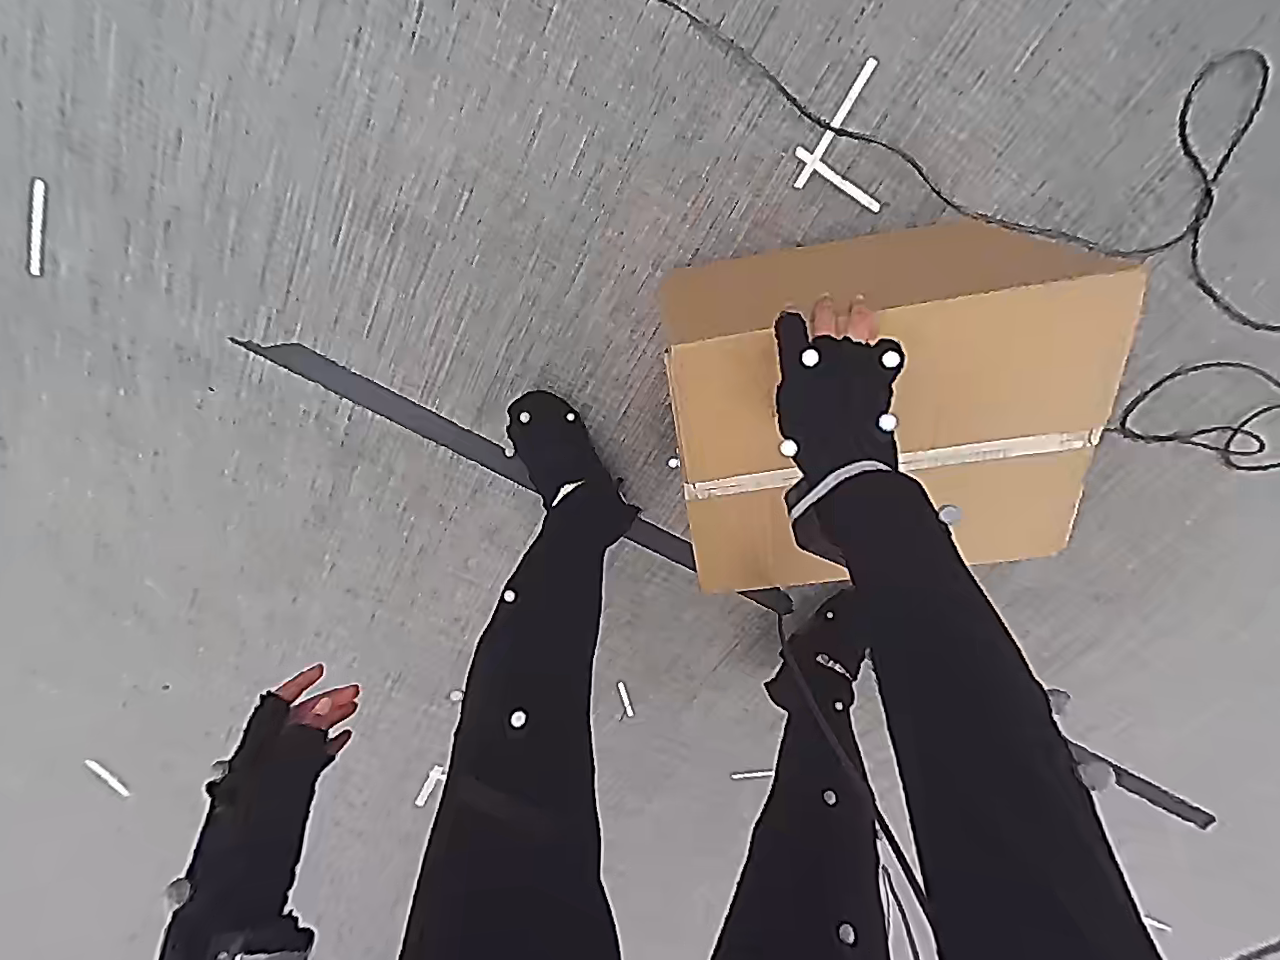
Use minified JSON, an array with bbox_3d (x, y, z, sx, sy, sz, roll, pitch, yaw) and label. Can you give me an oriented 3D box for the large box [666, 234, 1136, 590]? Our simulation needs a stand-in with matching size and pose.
[{"bbox_3d":[0.246,-0.088,0.669,0.408,0.320,0.320,-6,124,7],"label":"large box"}]
